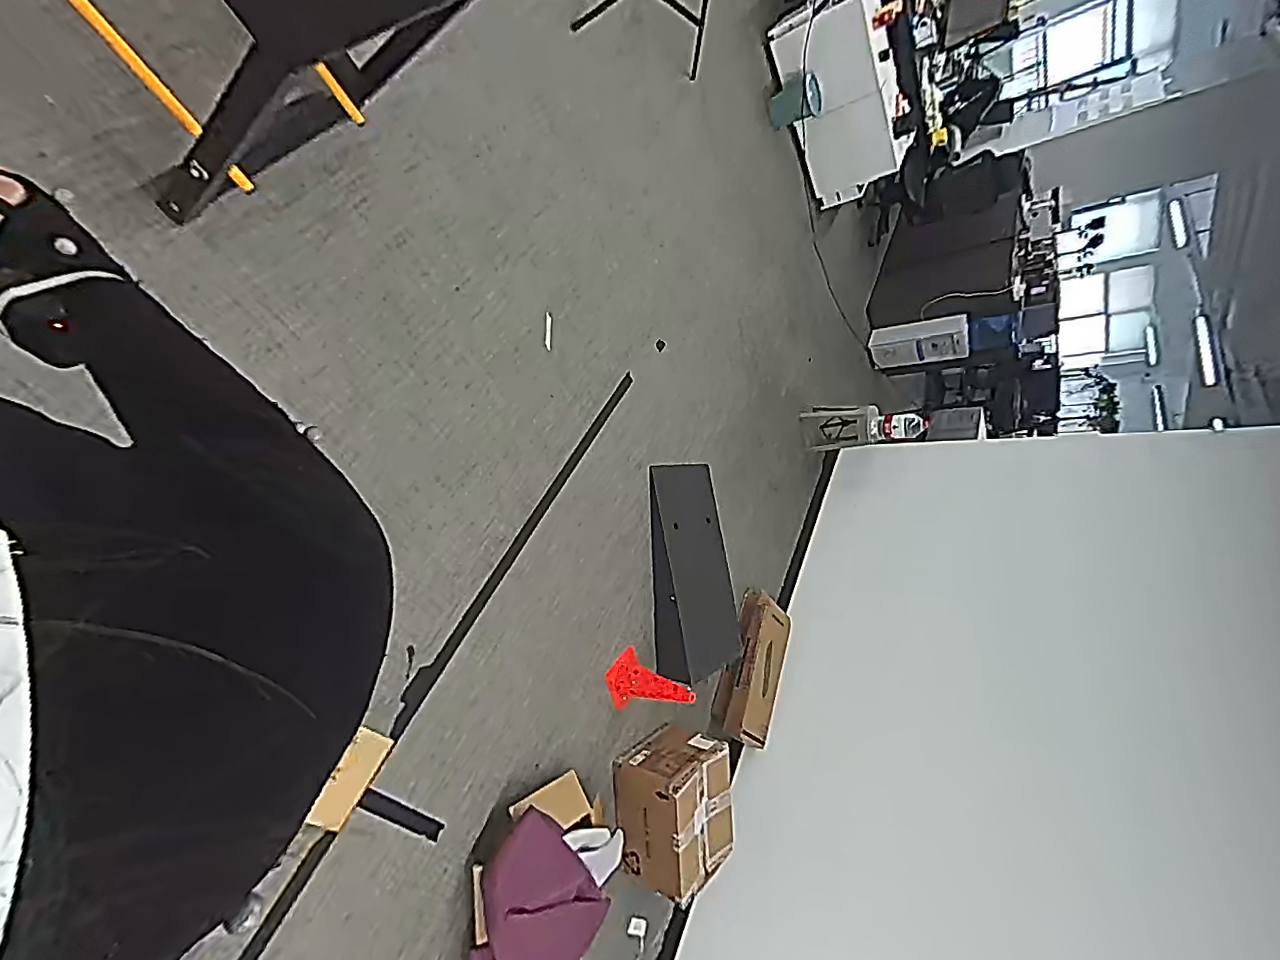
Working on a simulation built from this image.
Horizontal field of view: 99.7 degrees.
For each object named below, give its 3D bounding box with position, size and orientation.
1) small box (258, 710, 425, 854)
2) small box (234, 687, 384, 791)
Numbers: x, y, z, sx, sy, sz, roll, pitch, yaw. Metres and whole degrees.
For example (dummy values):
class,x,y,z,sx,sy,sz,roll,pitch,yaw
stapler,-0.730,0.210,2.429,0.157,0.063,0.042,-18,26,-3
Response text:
class,x,y,z,sx,sy,sz,roll,pitch,yaw
small box,-0.547,0.549,0.997,0.179,0.176,0.168,52,51,-37
small box,-0.675,0.540,1.103,0.179,0.176,0.168,47,55,-40
